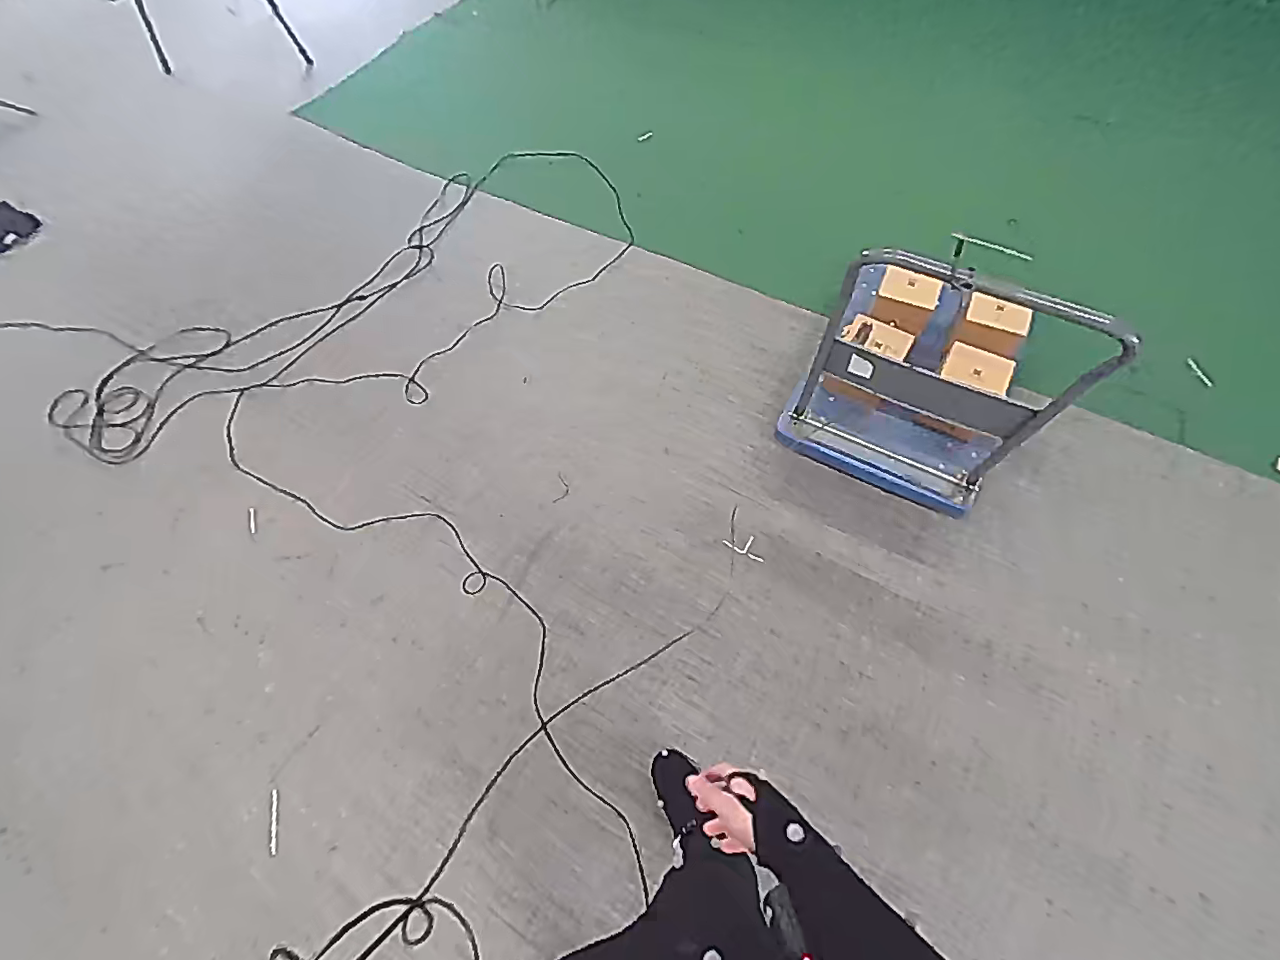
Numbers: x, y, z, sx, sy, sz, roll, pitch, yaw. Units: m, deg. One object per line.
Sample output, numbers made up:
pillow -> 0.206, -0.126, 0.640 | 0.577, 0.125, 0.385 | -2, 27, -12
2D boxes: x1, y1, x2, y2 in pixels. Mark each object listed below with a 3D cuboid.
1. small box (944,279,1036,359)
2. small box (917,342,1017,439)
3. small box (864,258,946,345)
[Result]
small box -> 1.045, -0.462, 1.623 | 0.168, 0.176, 0.179 | 22, 67, 15
small box -> 0.913, -0.249, 1.523 | 0.168, 0.176, 0.179 | 26, 68, 16
small box -> 0.818, -0.551, 1.685 | 0.168, 0.176, 0.179 | 22, 66, 14
